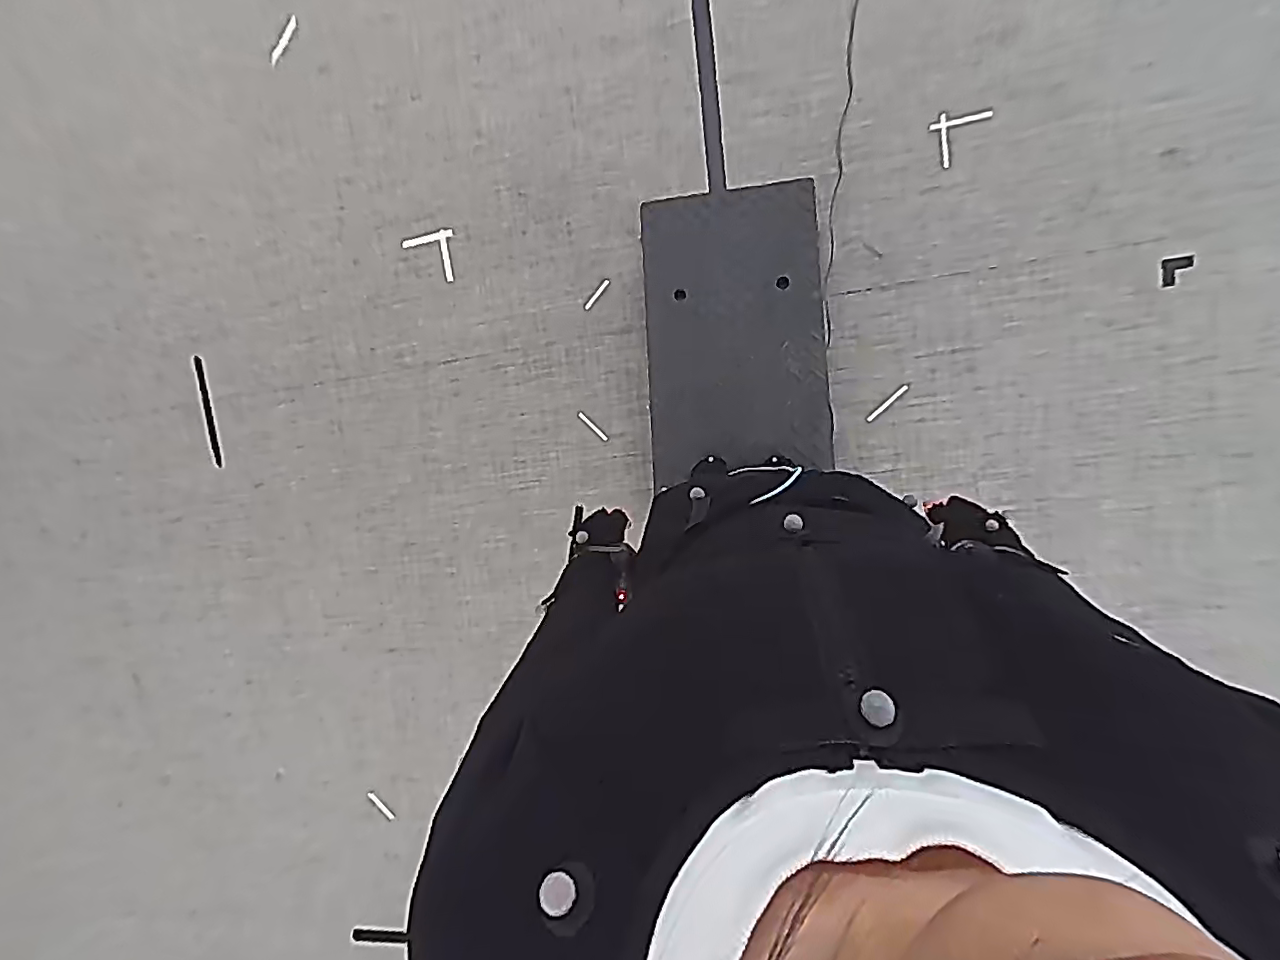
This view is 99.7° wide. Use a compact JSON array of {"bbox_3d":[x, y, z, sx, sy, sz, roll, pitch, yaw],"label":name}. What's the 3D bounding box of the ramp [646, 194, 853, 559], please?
[{"bbox_3d":[0.285,-0.293,1.515,0.509,0.206,0.991,-7,93,12],"label":"ramp"}]
